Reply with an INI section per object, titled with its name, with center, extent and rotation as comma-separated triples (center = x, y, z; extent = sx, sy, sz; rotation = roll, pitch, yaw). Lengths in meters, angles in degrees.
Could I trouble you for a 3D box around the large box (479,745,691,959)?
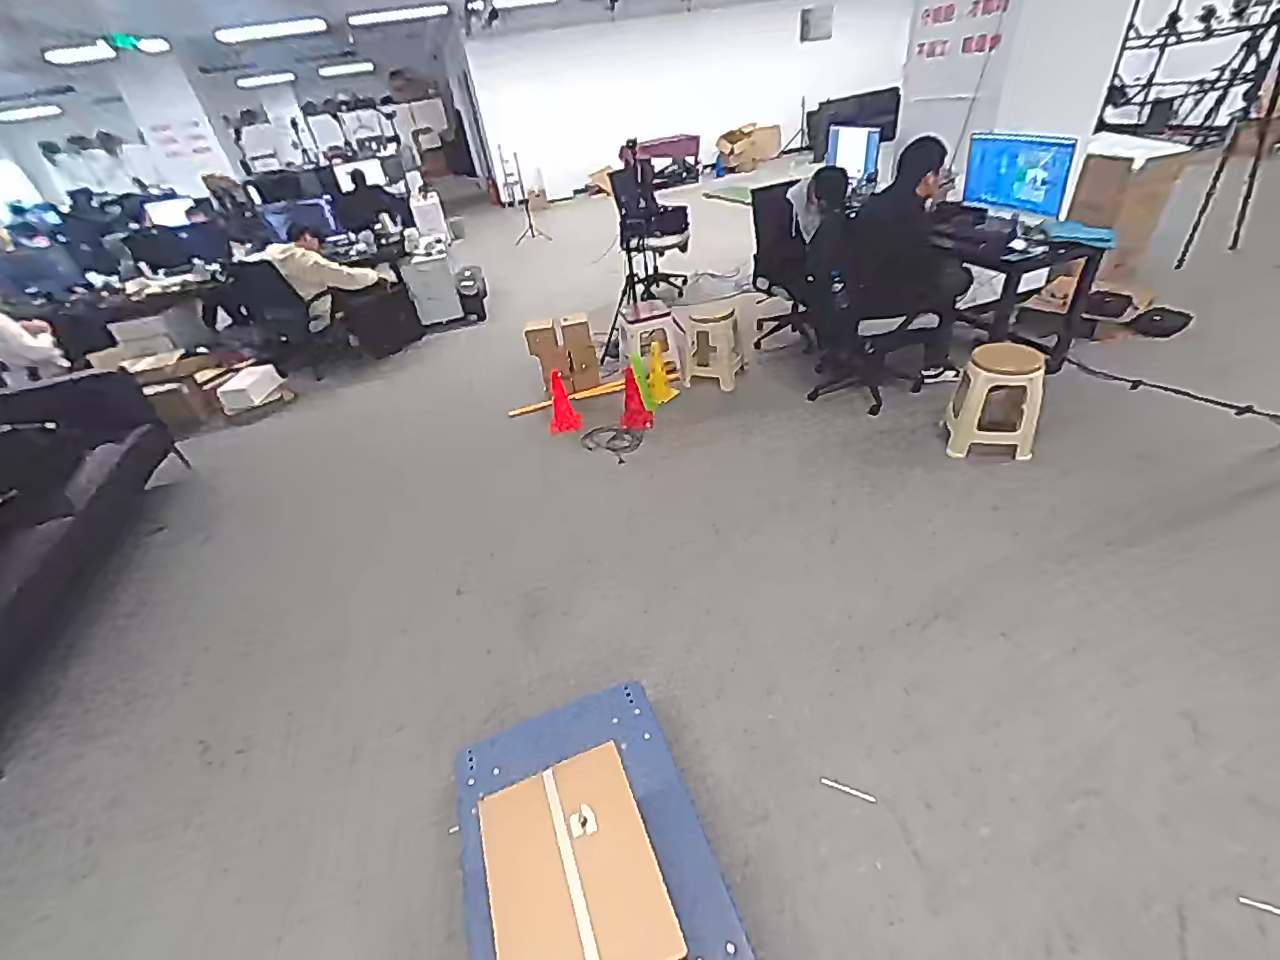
[large box]
center = -0.111, 0.867, 1.126
extent = 0.320, 0.320, 0.408
rotation = -19, 37, -12
